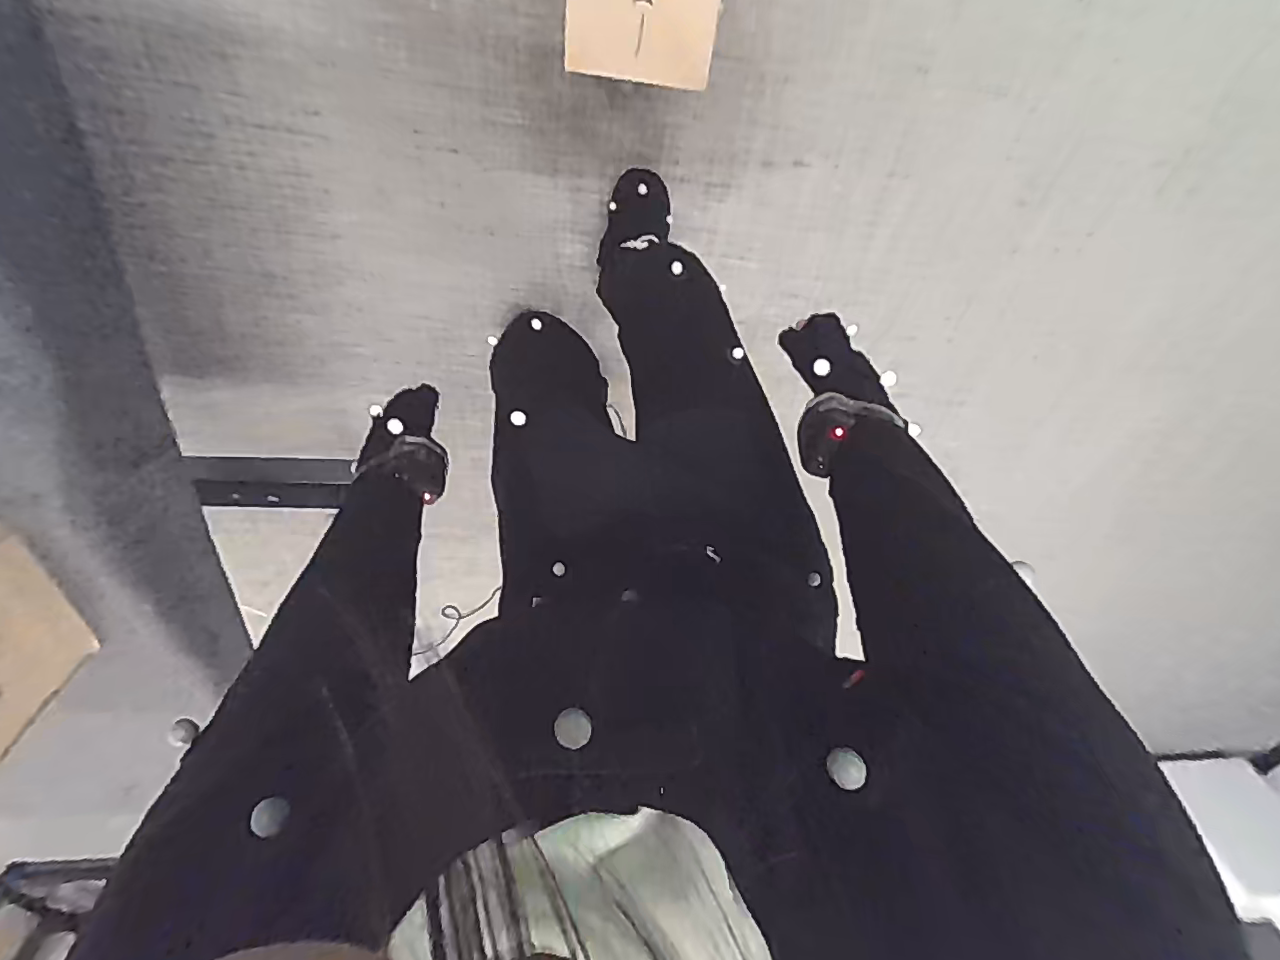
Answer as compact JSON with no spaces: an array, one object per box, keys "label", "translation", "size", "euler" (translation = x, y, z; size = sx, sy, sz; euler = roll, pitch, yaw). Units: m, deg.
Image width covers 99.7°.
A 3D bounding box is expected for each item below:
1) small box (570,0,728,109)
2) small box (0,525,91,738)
[{"label":"small box","translation":[0.009,-0.563,0.638],"size":[0.168,0.176,0.179],"euler":[6,129,-7]},{"label":"small box","translation":[-0.613,0.138,0.429],"size":[0.168,0.176,0.179],"euler":[6,128,-8]}]
